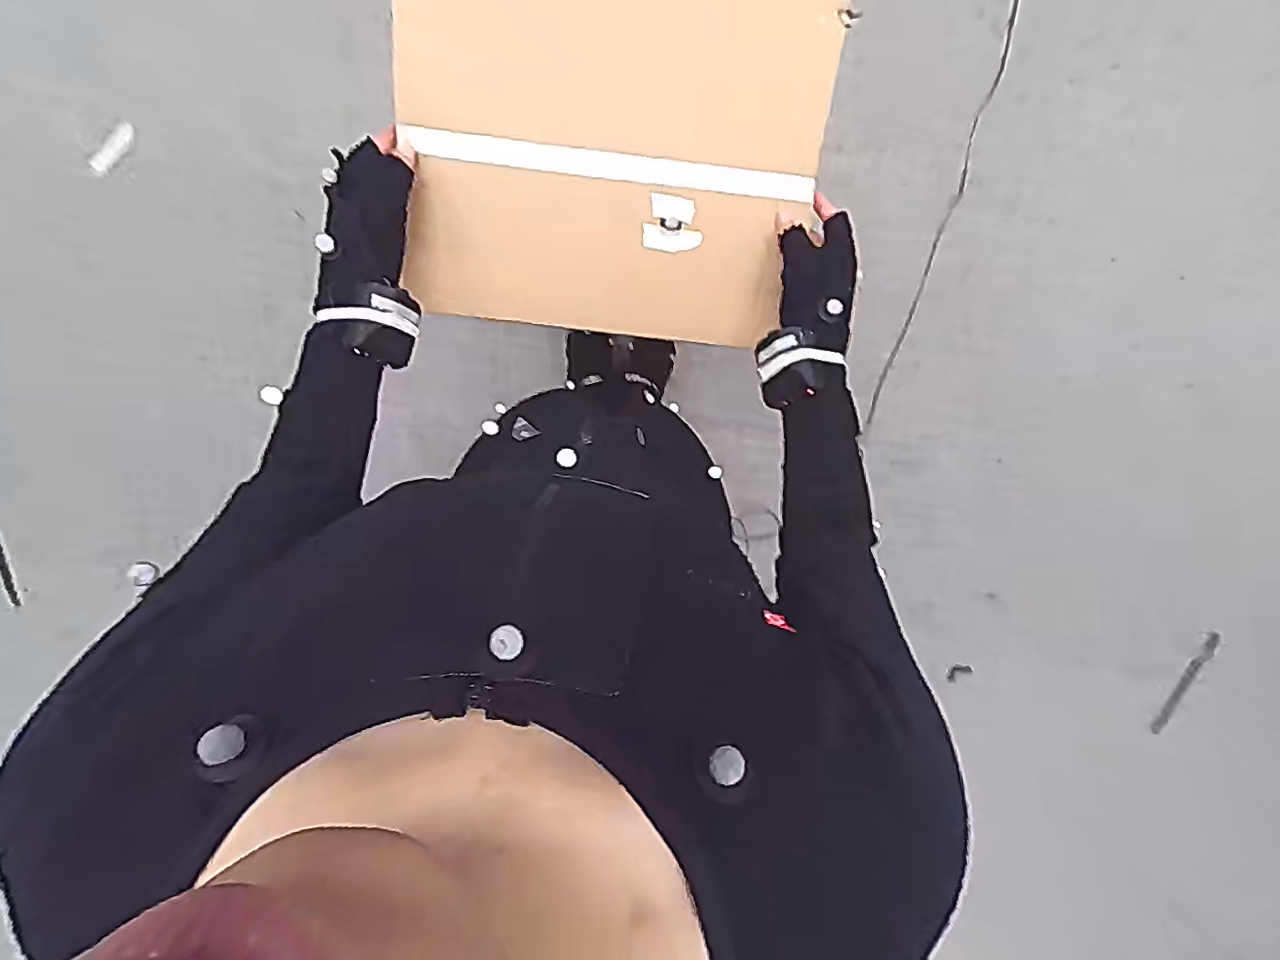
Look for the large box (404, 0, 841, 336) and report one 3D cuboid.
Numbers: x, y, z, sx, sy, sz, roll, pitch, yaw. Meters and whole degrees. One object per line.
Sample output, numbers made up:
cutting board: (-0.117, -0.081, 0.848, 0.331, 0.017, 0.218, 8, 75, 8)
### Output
large box: (-0.031, -0.366, 0.673, 0.408, 0.320, 0.320, 5, 110, -4)
